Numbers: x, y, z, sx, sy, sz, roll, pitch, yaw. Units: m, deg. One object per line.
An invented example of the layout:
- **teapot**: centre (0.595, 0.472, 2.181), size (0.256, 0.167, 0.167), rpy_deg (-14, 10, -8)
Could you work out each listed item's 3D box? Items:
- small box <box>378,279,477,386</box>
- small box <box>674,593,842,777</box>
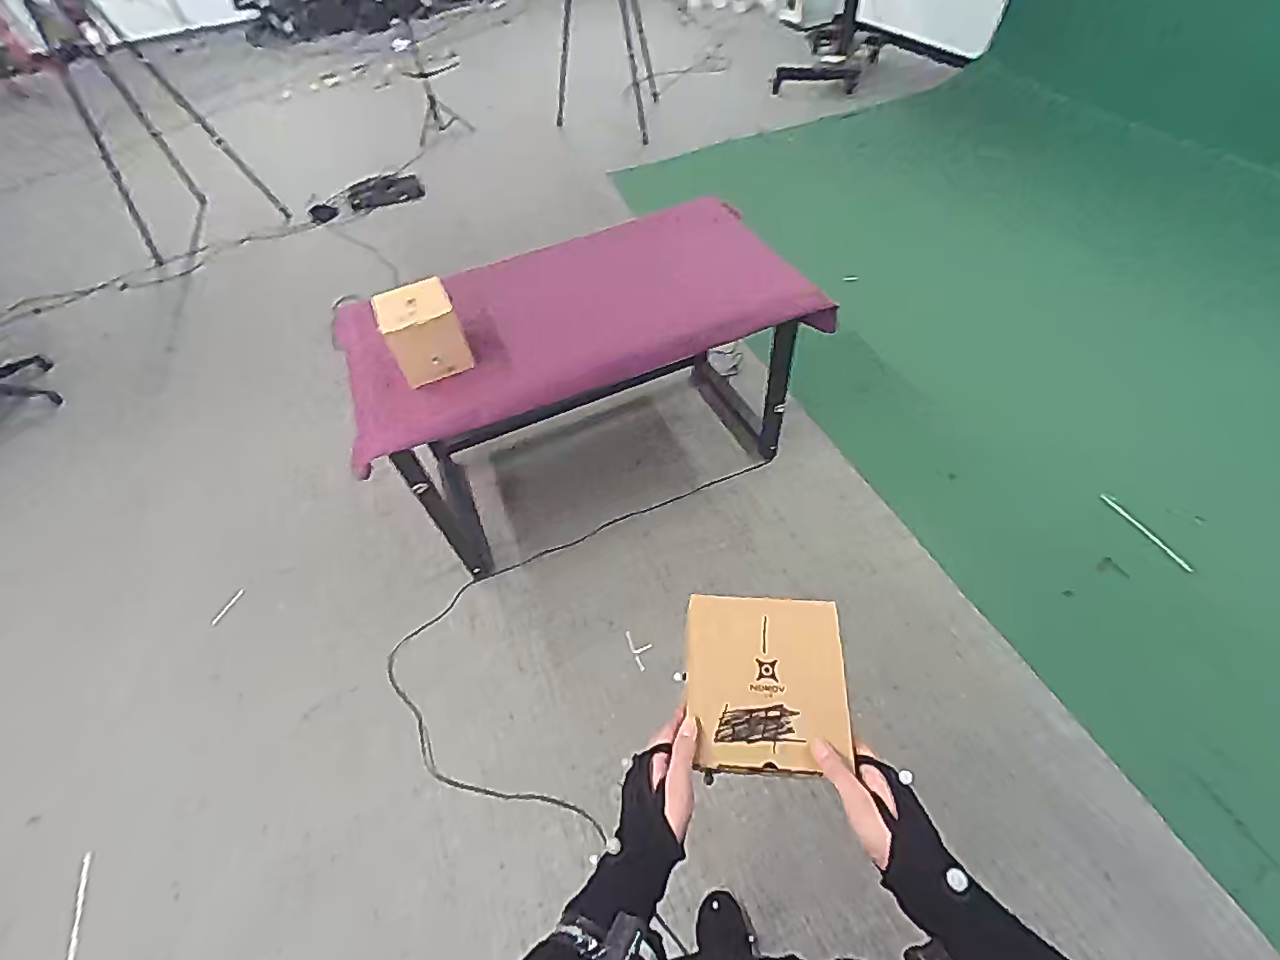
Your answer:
- **small box**: centre (-0.527, -0.366, 1.351), size (0.168, 0.176, 0.179), rpy_deg (-23, 54, -11)
- **small box**: centre (0.126, 0.246, 0.638), size (0.168, 0.176, 0.179), rpy_deg (2, 60, 4)
